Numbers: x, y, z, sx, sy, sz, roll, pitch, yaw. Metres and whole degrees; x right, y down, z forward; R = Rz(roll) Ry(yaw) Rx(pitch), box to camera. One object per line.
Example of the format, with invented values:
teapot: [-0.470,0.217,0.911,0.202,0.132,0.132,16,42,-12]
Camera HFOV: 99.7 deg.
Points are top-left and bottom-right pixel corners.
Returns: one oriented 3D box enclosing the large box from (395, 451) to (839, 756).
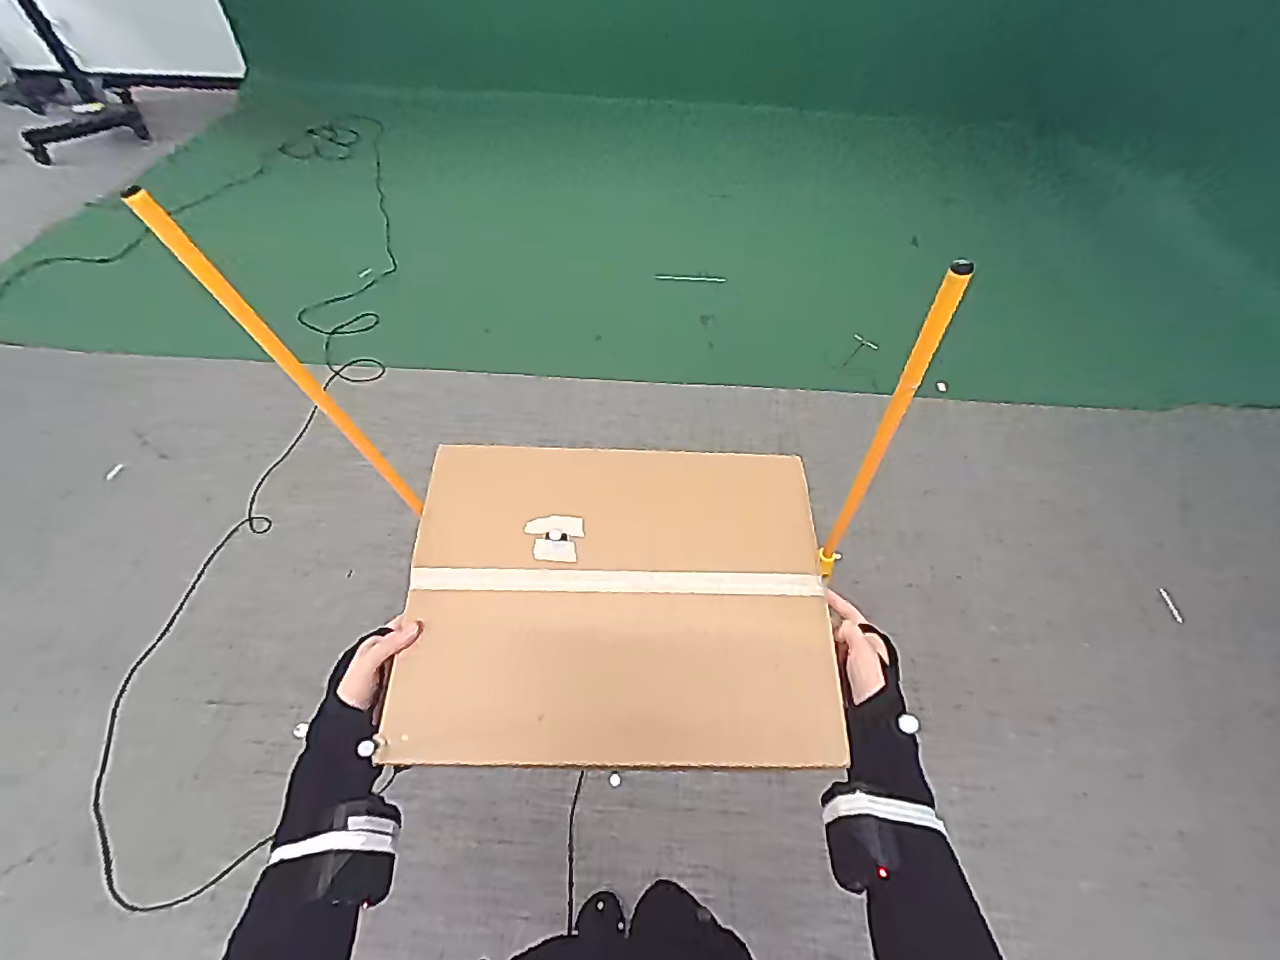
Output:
large box: [-0.021,0.172,0.679,0.408,0.320,0.320,1,61,-1]
